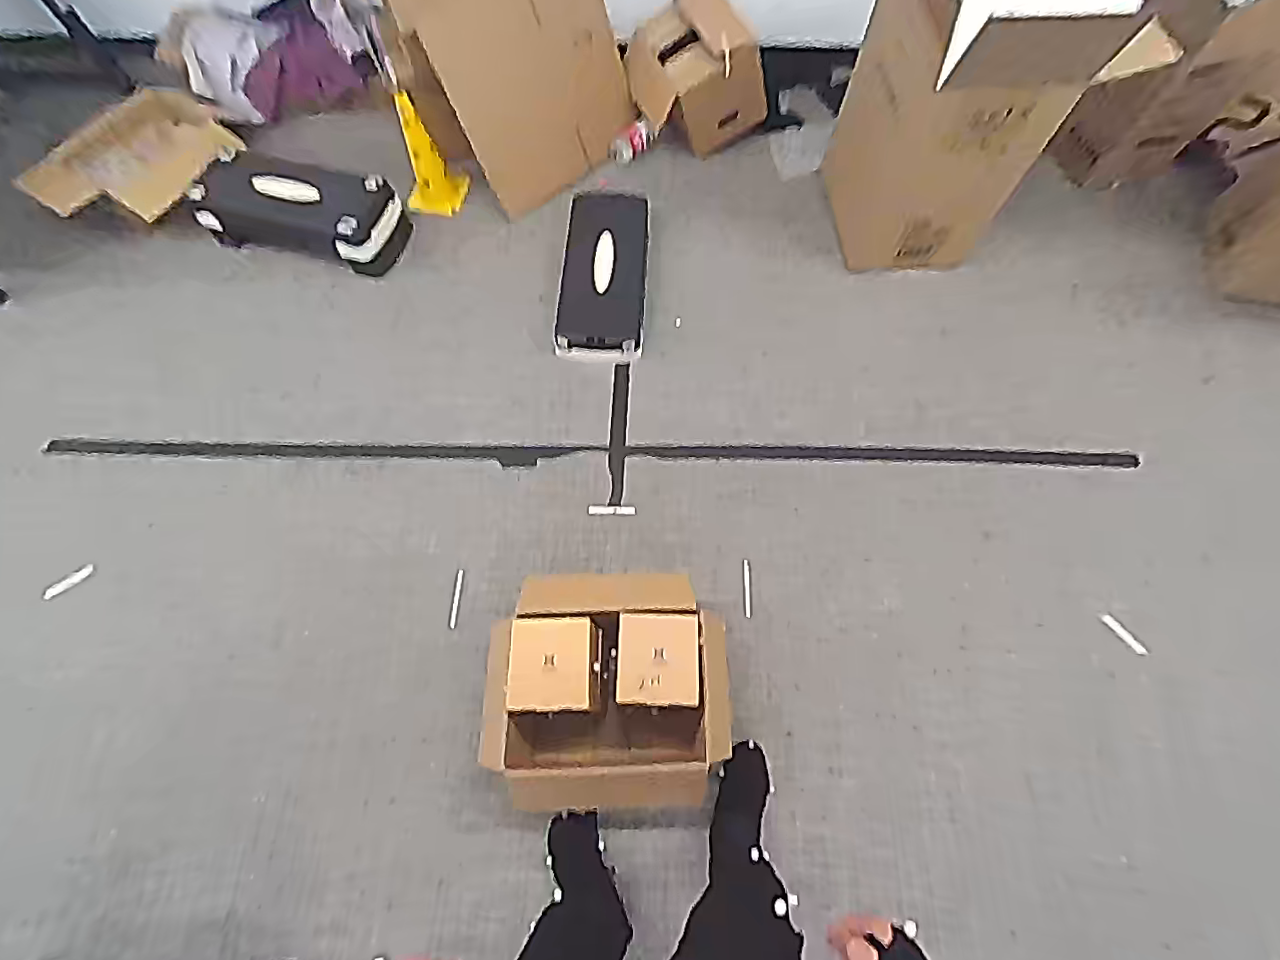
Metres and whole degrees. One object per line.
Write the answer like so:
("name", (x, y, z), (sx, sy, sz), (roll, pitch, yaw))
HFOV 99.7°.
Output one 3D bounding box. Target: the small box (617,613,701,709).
("small box", (0.040, 0.392, 1.160), (0.168, 0.176, 0.179), (2, 67, 2))
